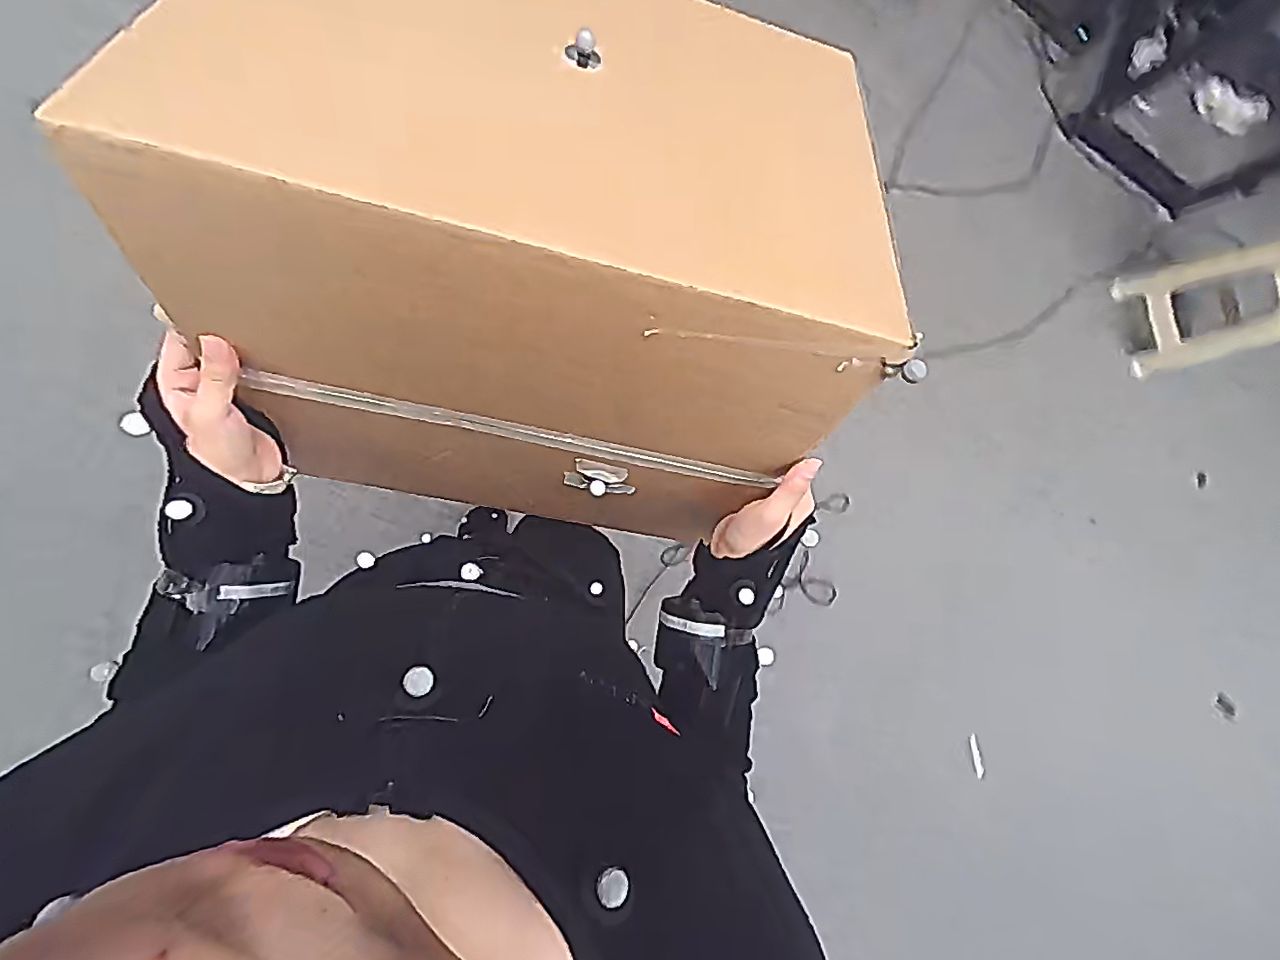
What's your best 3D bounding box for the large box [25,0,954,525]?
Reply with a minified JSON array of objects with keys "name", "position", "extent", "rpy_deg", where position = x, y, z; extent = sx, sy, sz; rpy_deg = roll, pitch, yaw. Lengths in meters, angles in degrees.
[{"name":"large box","position":[-0.064,-0.186,0.430],"extent":[0.408,0.320,0.320],"rpy_deg":[9,63,-10]}]
